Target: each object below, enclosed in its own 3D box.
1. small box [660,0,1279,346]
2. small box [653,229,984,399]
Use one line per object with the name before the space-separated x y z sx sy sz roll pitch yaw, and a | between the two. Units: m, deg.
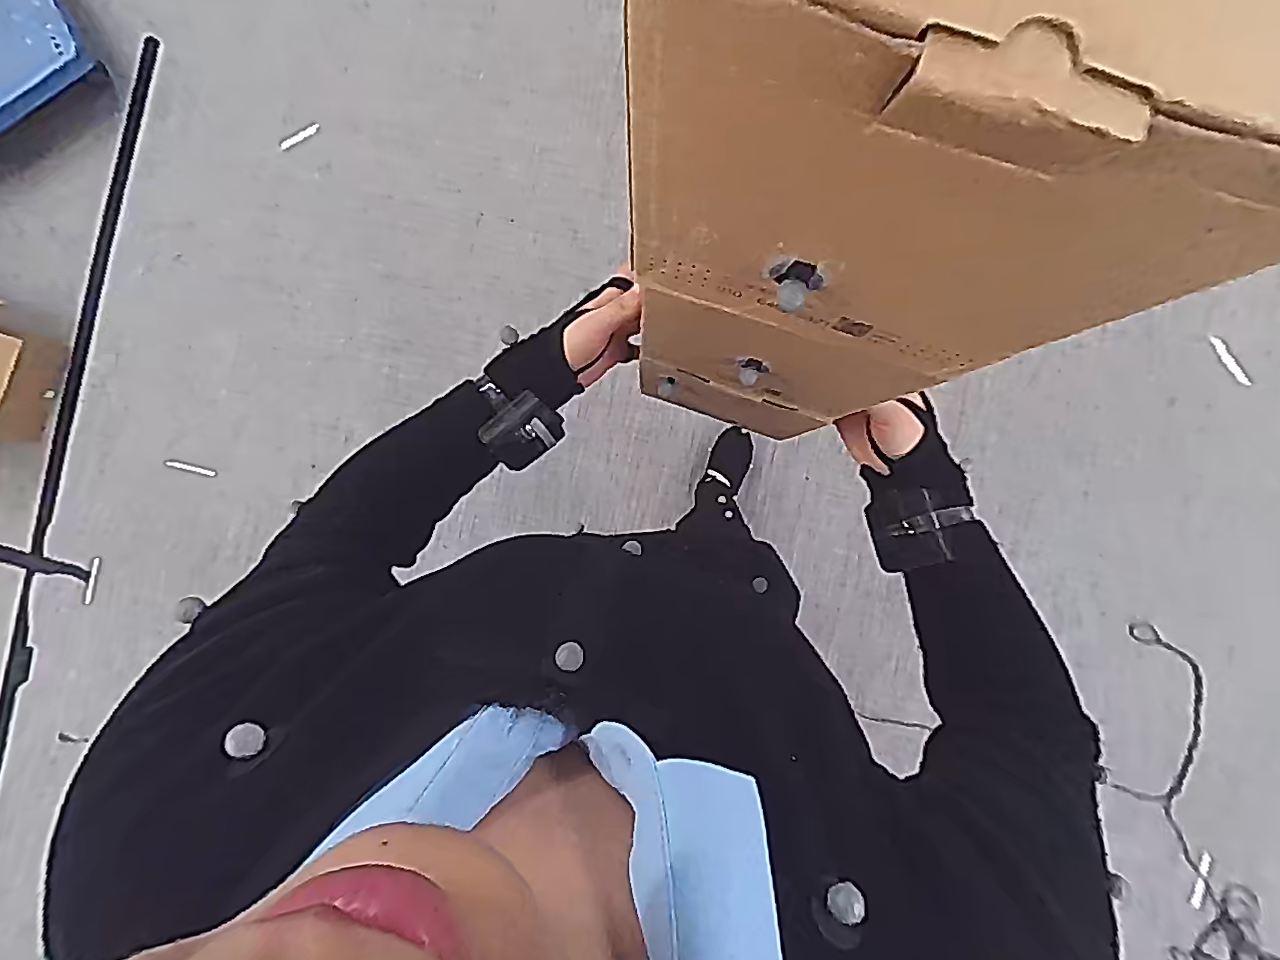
small box | 0.106 -0.166 0.176 0.168 0.176 0.179 17 90 0
small box | 0.111 -0.163 0.339 0.168 0.176 0.179 17 89 0
